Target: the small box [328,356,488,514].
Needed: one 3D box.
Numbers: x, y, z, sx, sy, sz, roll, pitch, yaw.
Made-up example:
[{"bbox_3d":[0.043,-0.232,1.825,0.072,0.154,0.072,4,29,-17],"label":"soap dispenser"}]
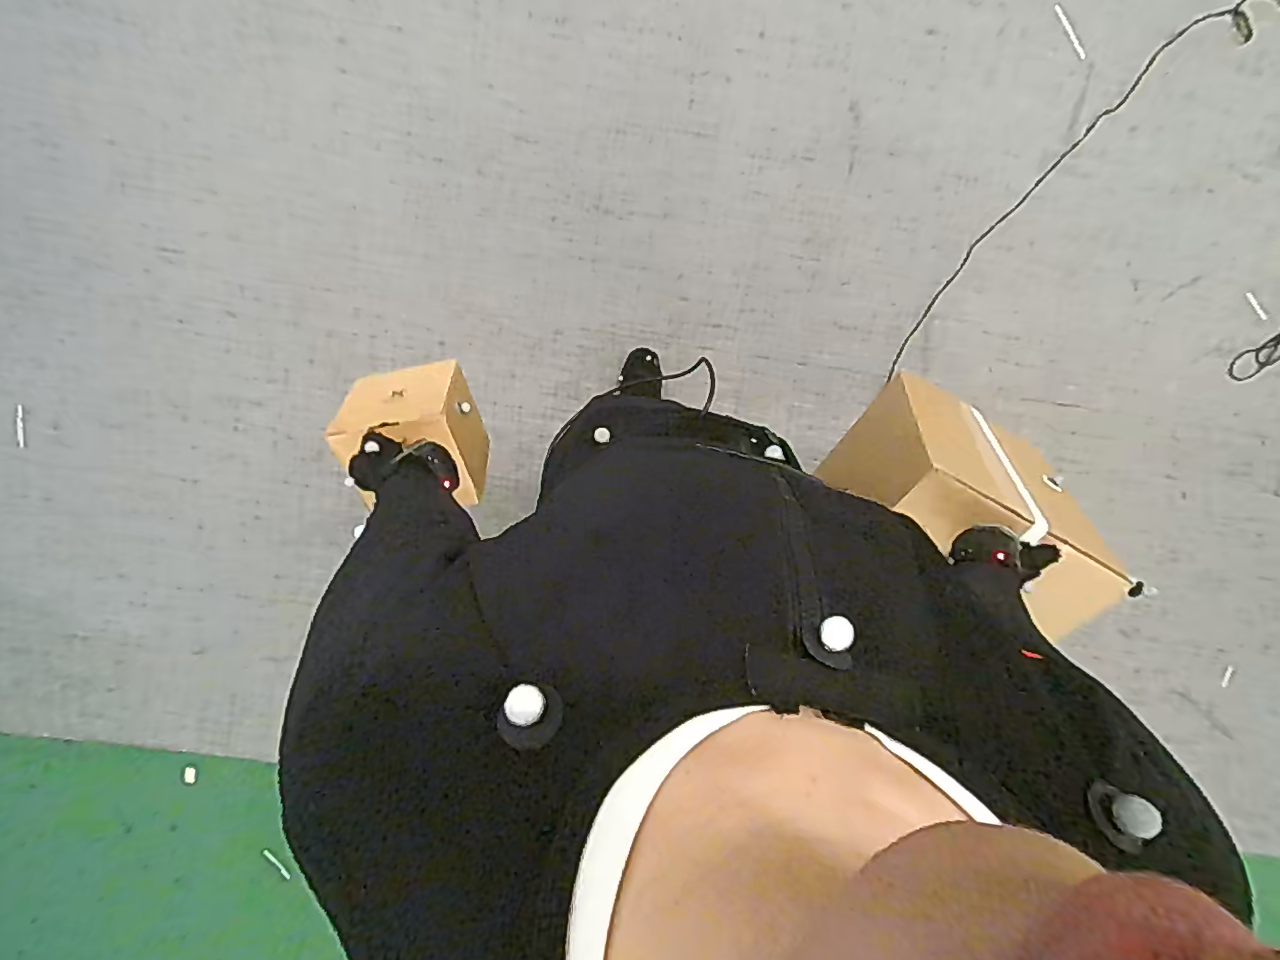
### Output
[{"bbox_3d":[-0.350,-0.072,0.860,0.168,0.179,0.176,-11,129,0],"label":"small box"}]
